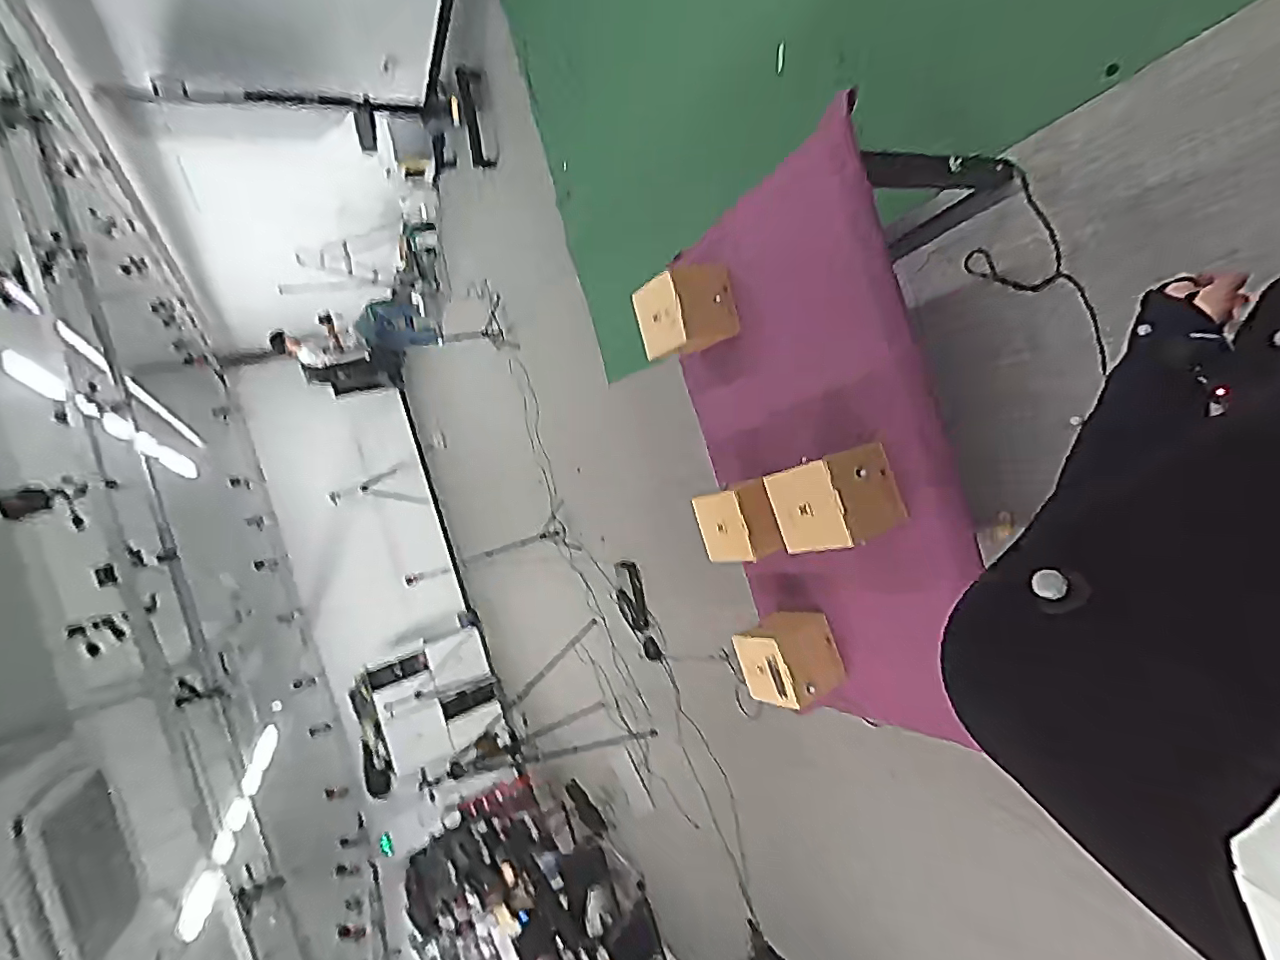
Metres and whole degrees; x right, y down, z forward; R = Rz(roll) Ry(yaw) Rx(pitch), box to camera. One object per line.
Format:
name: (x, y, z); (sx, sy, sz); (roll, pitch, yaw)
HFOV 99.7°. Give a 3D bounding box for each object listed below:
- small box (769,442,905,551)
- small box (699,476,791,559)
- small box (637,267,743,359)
small box: (0.399, 0.033, 1.087); (0.179, 0.176, 0.168); (-24, 84, 62)
small box: (0.278, 0.091, 1.332); (0.179, 0.176, 0.168); (-19, 88, 60)
small box: (0.122, -0.406, 1.325); (0.179, 0.176, 0.168); (-7, 100, 60)
